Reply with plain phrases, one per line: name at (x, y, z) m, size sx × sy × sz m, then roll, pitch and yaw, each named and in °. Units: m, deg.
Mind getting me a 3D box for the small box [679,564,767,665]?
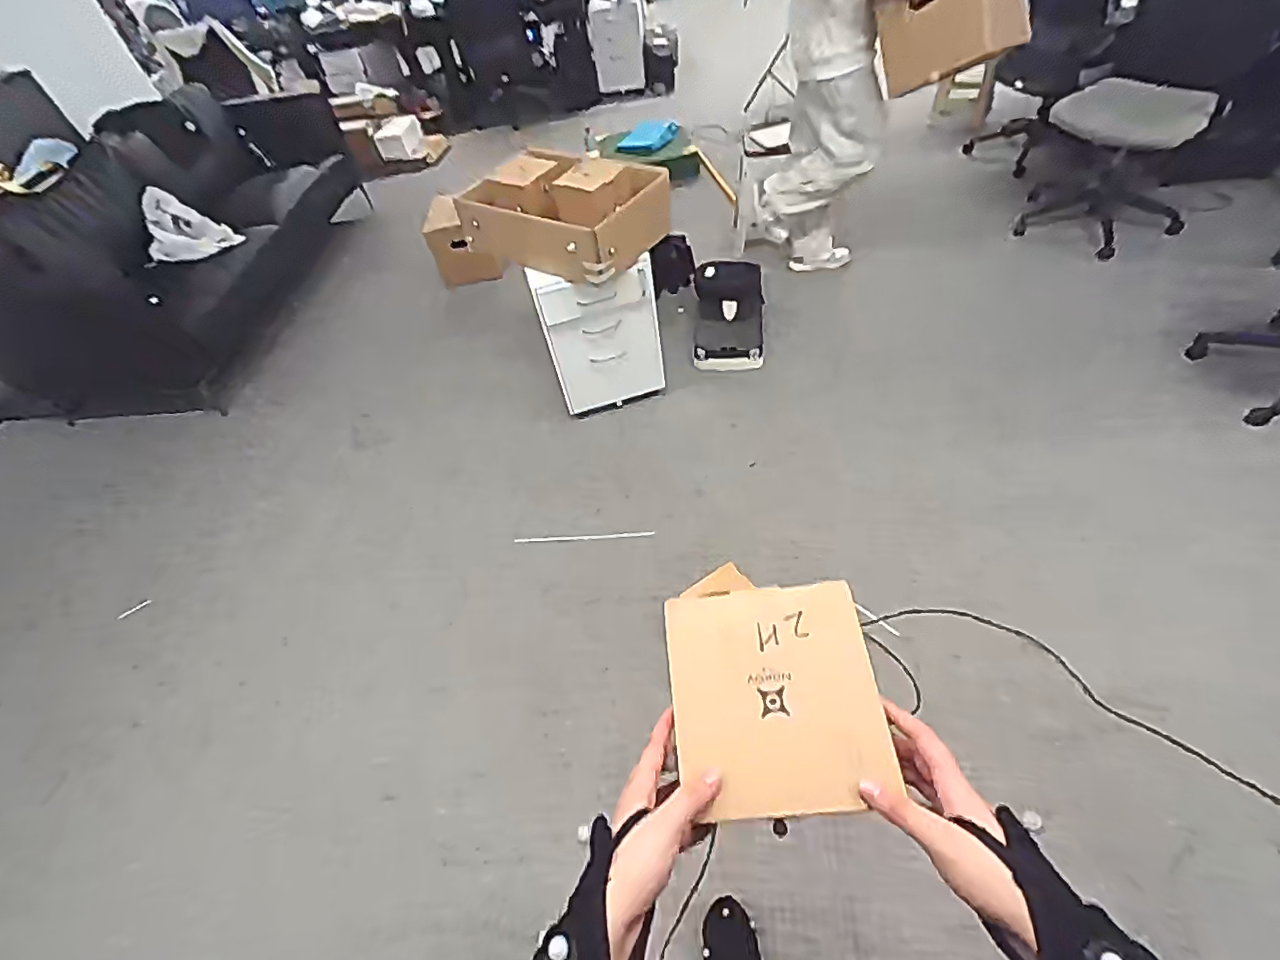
small box at (0.228, 0.372, 1.479) m, size 0.179 × 0.176 × 0.168 m, roll -31°, pitch 52°, yaw -16°
